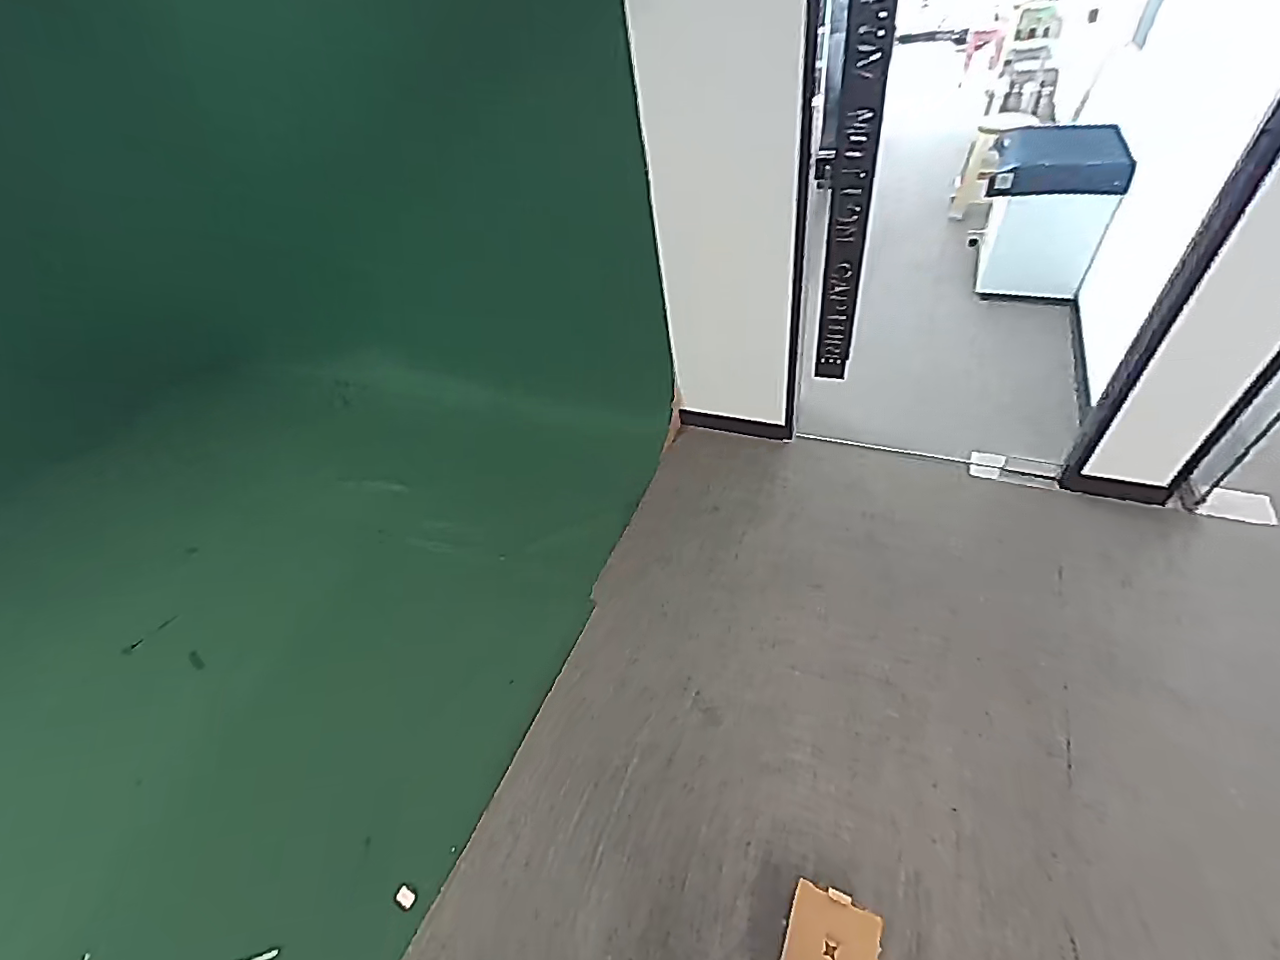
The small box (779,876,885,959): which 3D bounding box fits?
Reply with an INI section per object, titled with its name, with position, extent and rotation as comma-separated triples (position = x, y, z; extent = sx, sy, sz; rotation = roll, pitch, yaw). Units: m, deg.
[small box]
position = 0.382, 0.950, 1.092
extent = 0.168, 0.176, 0.179
rotation = 14, 52, 26
